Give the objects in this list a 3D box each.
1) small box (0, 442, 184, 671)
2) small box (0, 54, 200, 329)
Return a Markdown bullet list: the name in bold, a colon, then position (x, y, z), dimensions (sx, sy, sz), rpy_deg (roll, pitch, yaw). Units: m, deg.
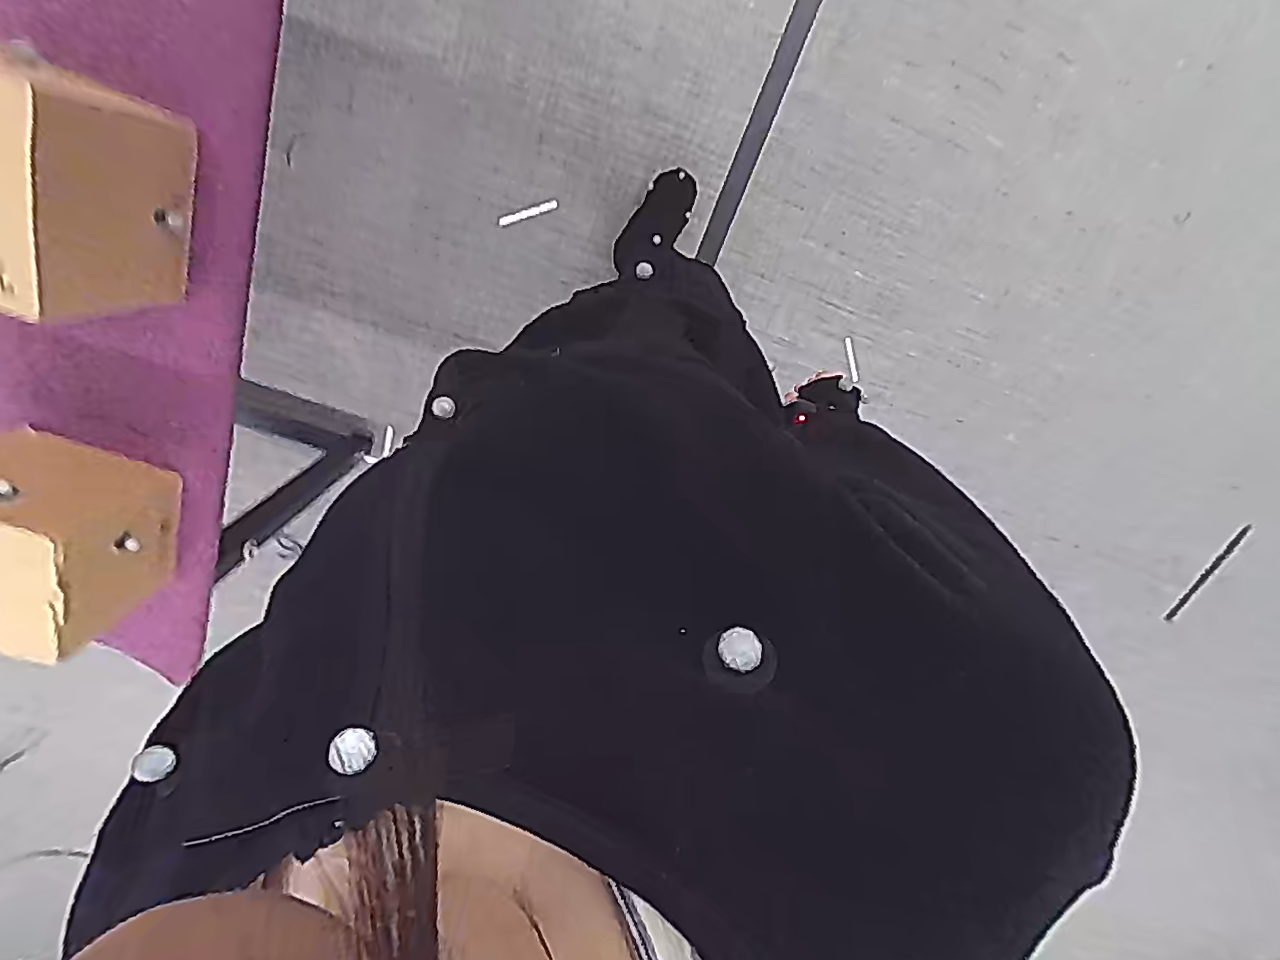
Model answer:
- **small box**: position (-0.661, 0.075, 0.603), dimensions (0.179, 0.176, 0.168), rpy_deg (20, 110, -10)
- **small box**: position (-0.524, -0.253, 0.464), dimensions (0.168, 0.176, 0.179), rpy_deg (20, 111, -11)
